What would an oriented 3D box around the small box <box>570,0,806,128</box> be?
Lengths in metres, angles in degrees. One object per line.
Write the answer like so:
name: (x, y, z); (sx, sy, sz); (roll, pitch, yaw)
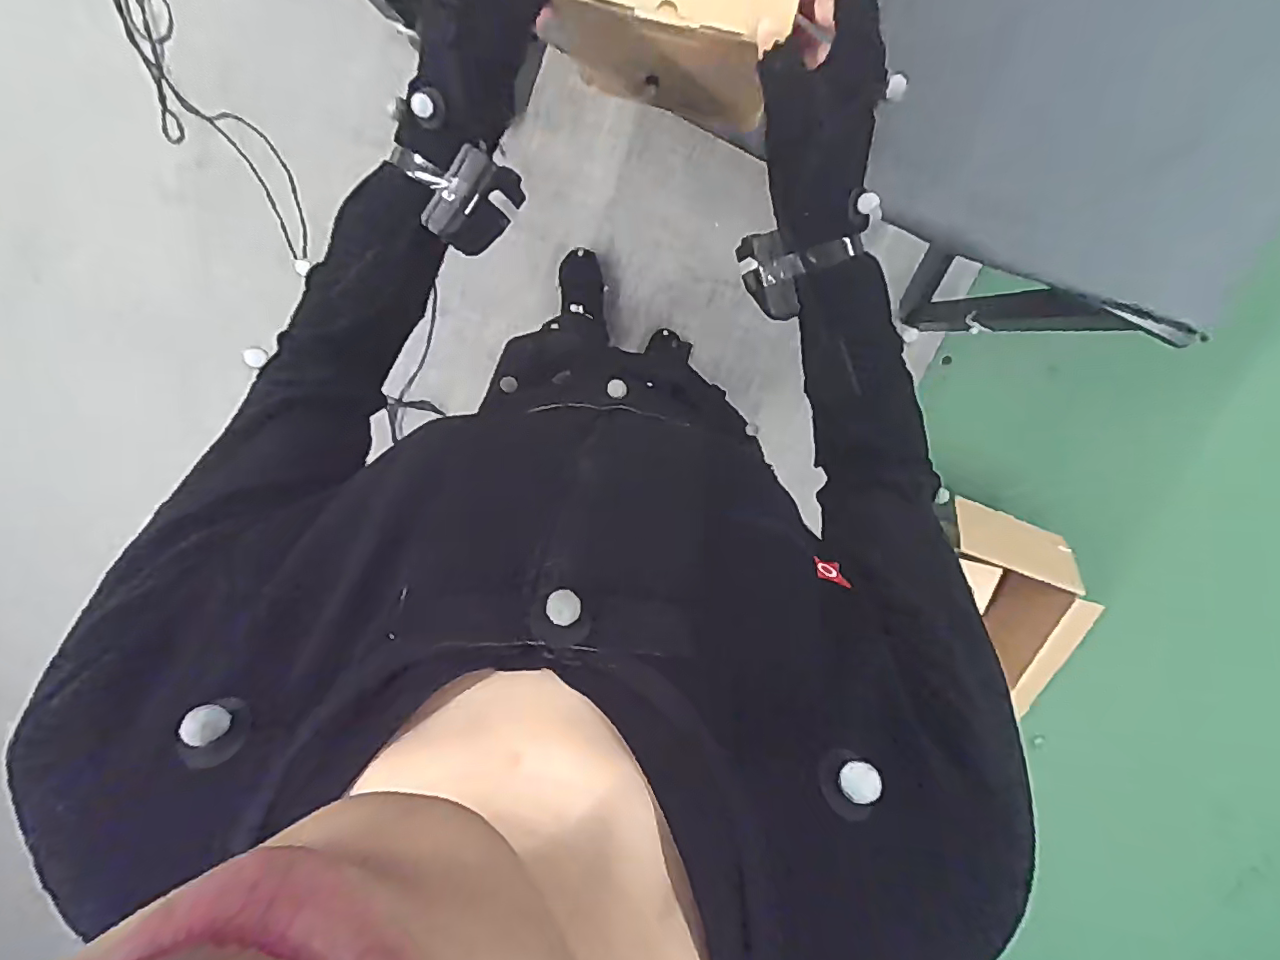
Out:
small box: (0.047, -0.409, 0.413); (0.168, 0.176, 0.179); (14, 108, 0)
